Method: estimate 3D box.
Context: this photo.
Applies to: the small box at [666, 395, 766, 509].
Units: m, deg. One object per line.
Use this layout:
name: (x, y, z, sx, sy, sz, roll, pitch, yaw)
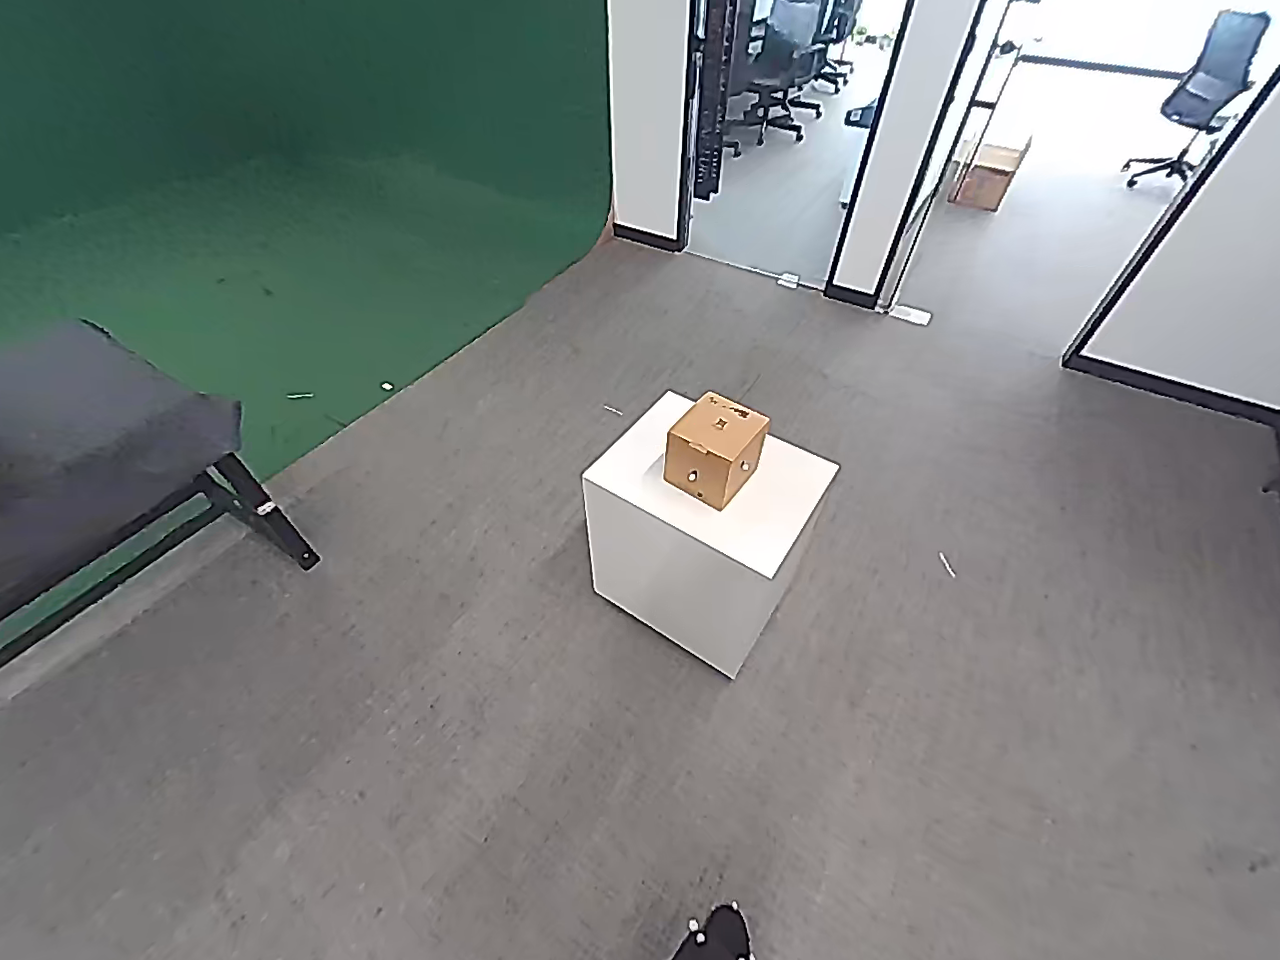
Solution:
small box: (0.173, -0.062, 1.267, 0.168, 0.176, 0.179, 28, 53, 21)
